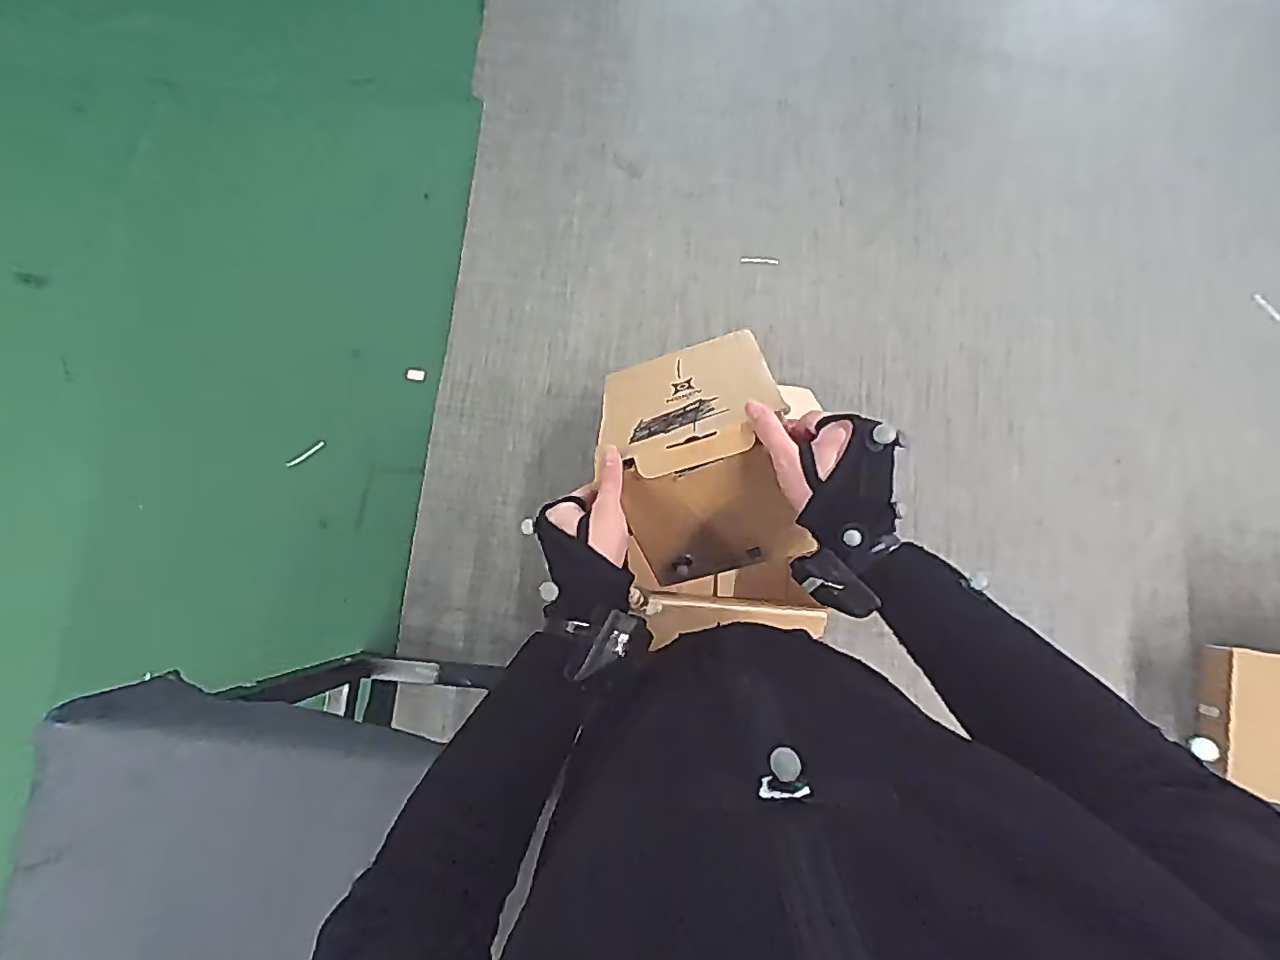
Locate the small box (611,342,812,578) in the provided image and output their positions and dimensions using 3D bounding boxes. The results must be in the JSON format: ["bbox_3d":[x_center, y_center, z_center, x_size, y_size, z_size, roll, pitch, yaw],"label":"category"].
[{"bbox_3d":[0.076,-0.014,0.581,0.168,0.176,0.179,-15,38,11],"label":"small box"}]
